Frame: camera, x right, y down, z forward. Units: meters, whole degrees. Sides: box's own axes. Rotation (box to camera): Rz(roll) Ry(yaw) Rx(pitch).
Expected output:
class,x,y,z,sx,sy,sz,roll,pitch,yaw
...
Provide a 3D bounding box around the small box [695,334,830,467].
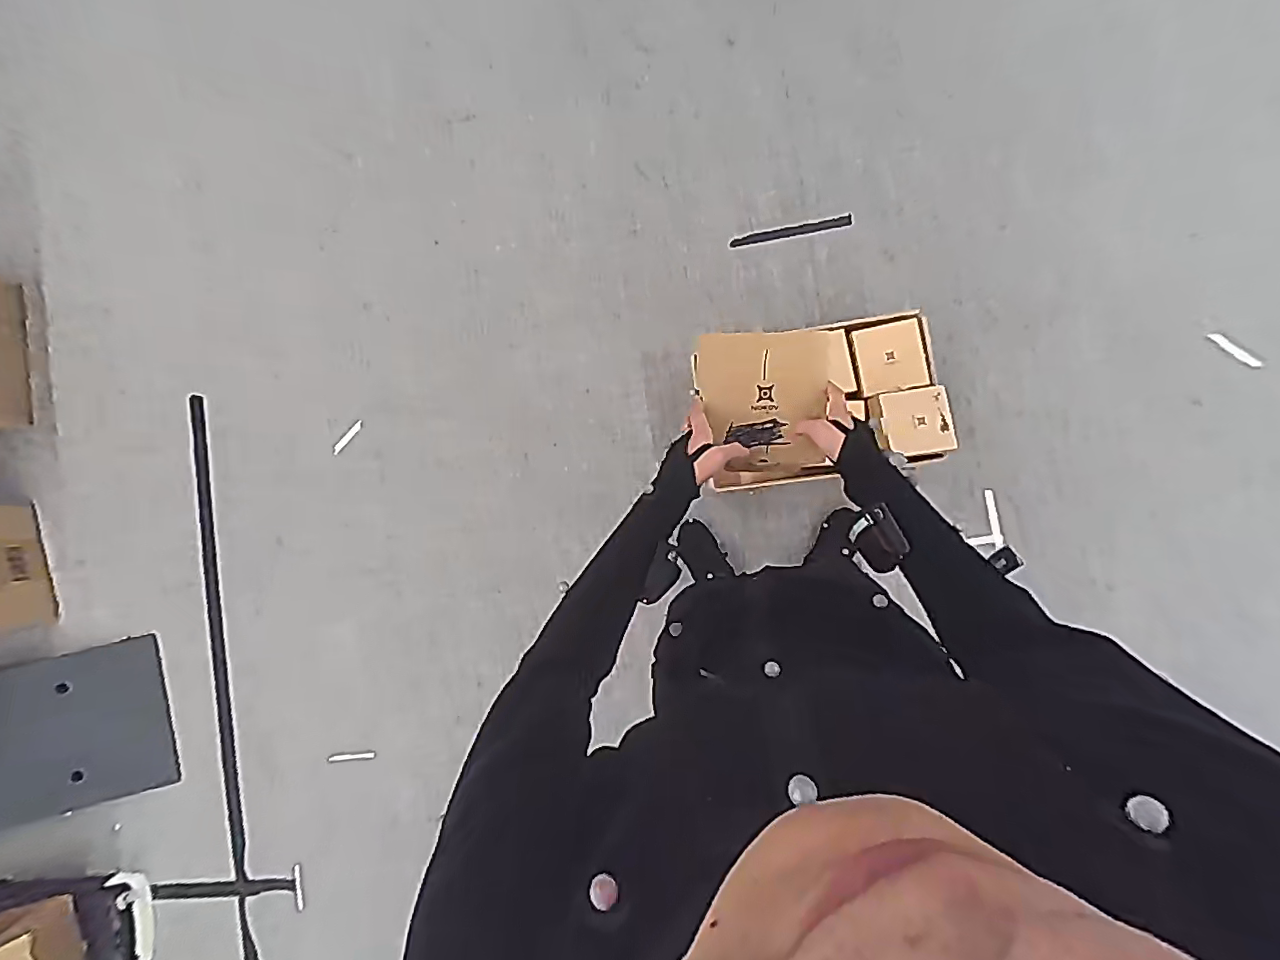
class,x,y,z,sx,sy,sz,roll,pitch,yaw
small box,0.168,-0.120,0.794,0.168,0.176,0.179,0,101,3
